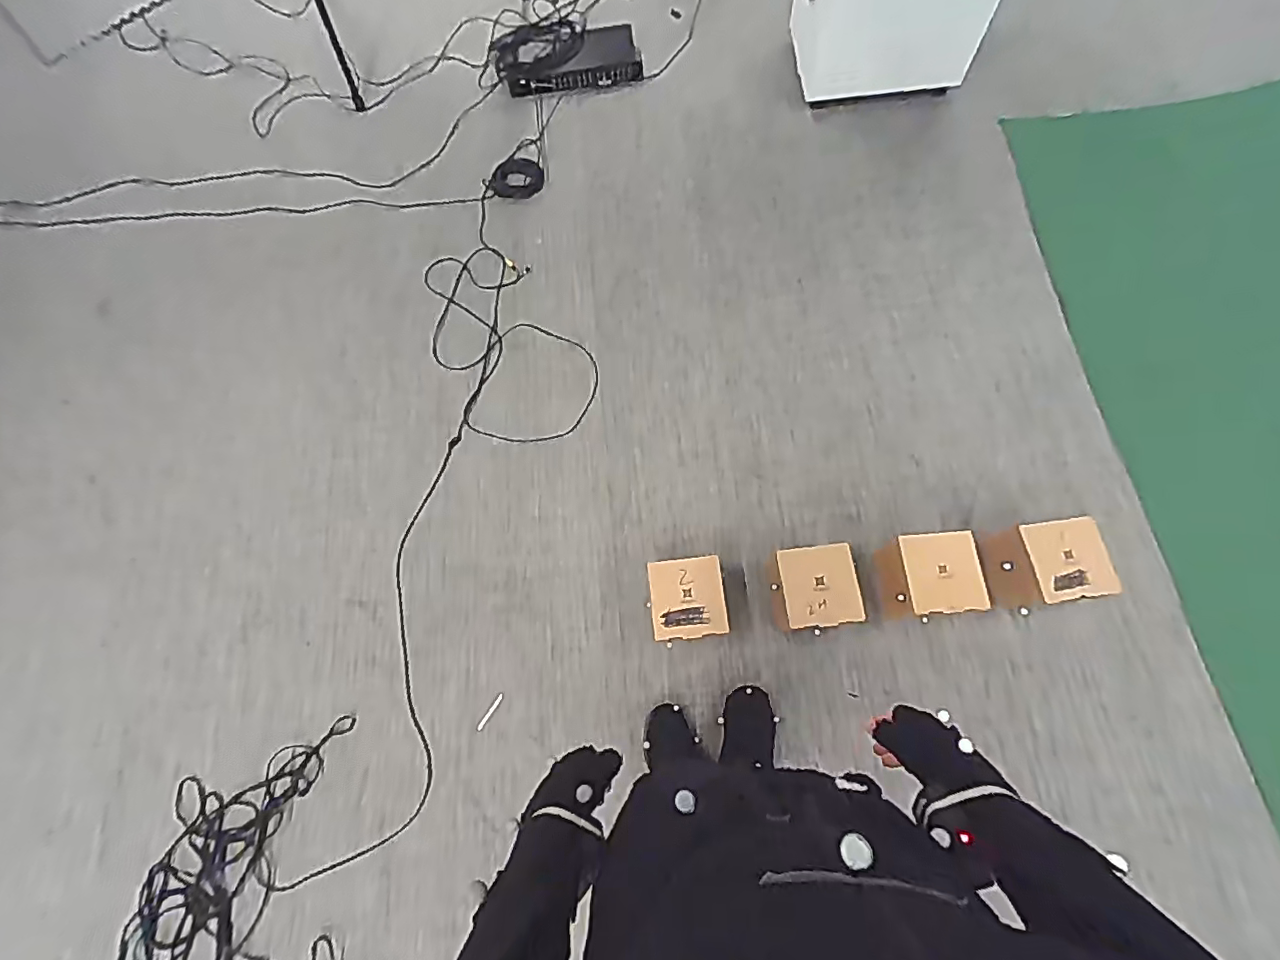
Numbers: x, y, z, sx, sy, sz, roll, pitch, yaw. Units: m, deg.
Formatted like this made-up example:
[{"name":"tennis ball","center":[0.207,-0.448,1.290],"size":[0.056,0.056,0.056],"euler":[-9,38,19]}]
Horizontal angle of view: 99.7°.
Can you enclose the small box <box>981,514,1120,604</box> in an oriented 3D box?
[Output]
[{"name":"small box","center":[0.935,0.190,1.251],"size":[0.168,0.176,0.179],"euler":[-8,71,1]}]

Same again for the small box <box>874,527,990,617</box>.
[{"name":"small box","center":[0.668,0.219,1.262],"size":[0.168,0.176,0.179],"euler":[-5,72,2]}]

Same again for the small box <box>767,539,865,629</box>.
[{"name":"small box","center":[0.402,0.248,1.268],"size":[0.168,0.176,0.179],"euler":[-7,72,3]}]
